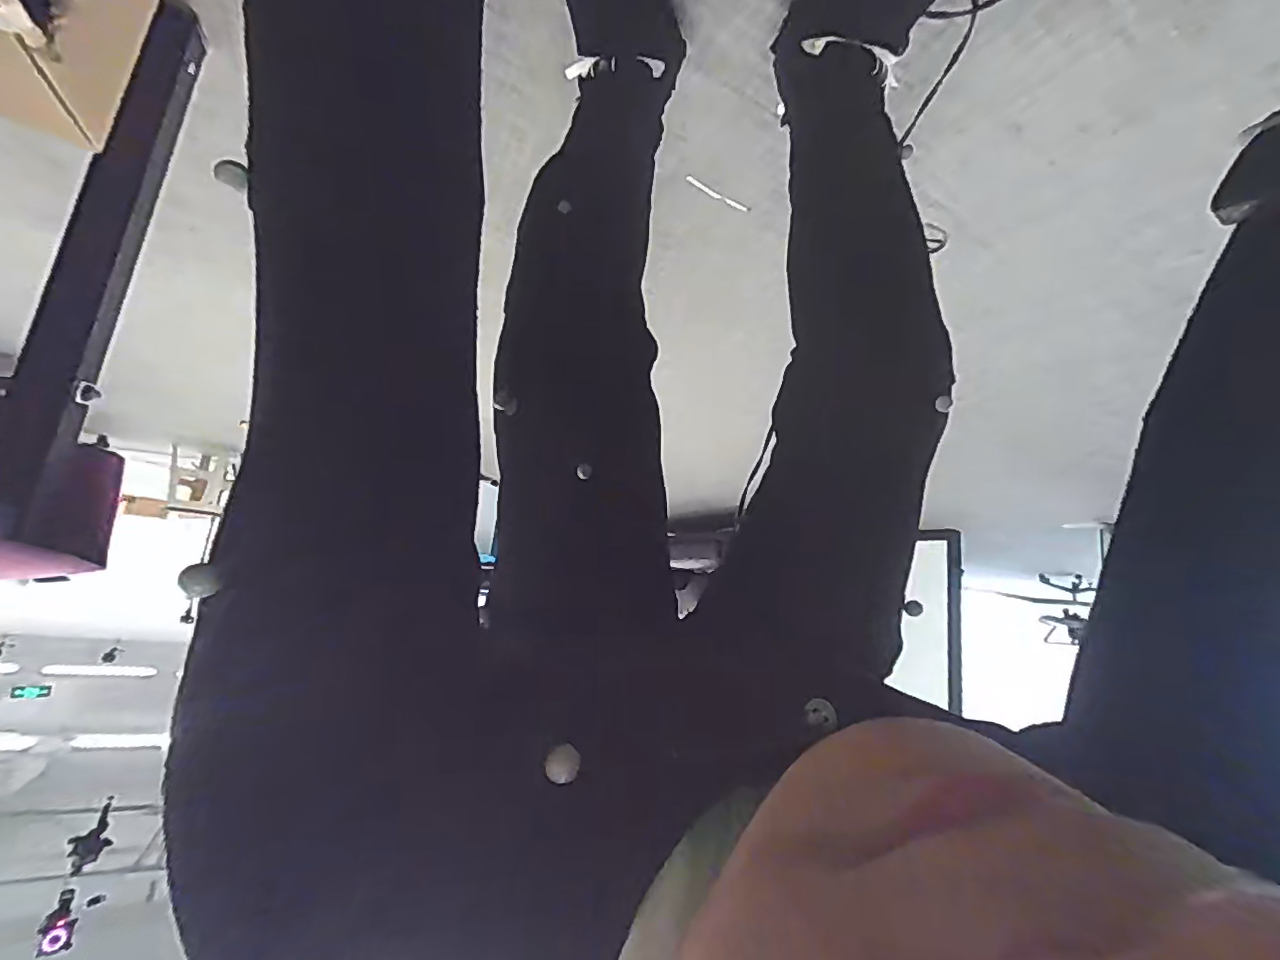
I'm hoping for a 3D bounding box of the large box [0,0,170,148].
[{"bbox_3d":[-0.630,-0.540,0.367,0.408,0.320,0.320,14,164,-24],"label":"large box"}]
